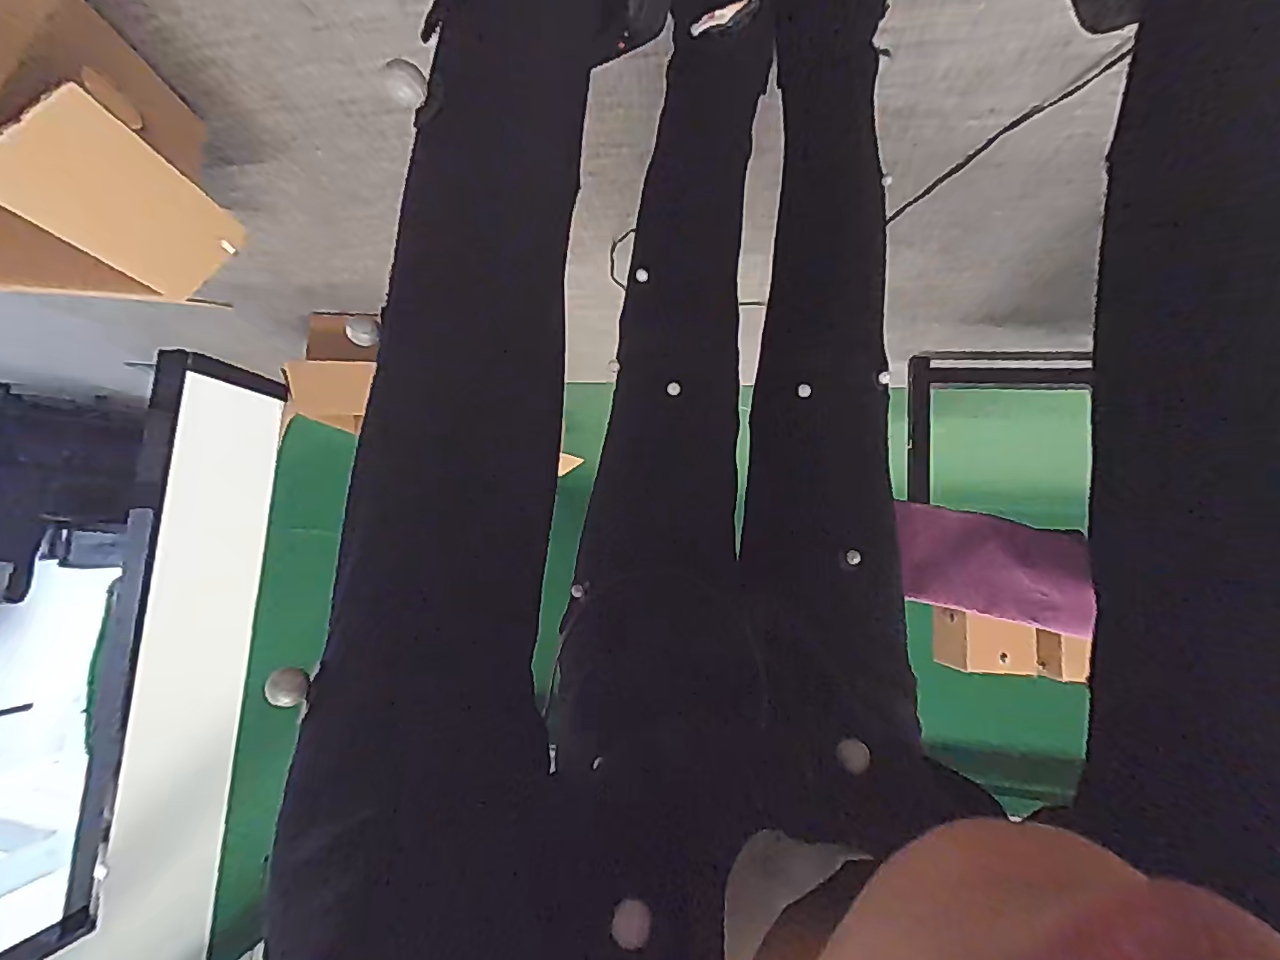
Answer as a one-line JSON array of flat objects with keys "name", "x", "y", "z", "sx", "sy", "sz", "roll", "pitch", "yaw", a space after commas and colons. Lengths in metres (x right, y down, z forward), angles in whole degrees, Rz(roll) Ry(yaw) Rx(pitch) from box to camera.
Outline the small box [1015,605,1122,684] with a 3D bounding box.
[{"name": "small box", "x": 1.117, "y": 0.424, "z": 1.409, "sx": 0.179, "sy": 0.176, "sz": 0.168, "roll": 3, "pitch": 172, "yaw": 3}]
